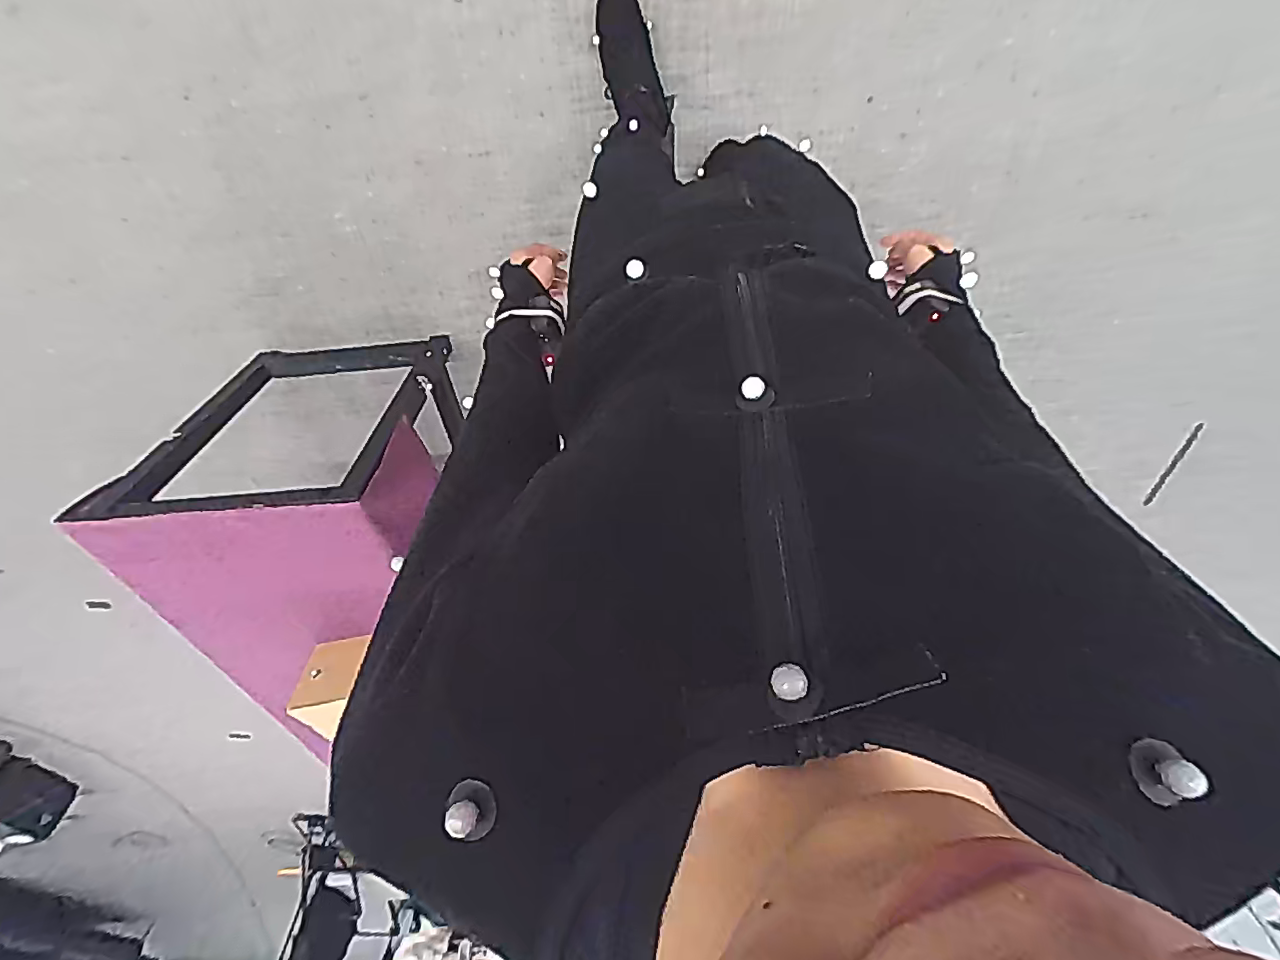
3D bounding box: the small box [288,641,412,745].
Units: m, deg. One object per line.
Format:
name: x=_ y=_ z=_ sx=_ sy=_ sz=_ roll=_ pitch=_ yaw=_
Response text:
small box: x=-0.689 y=0.514 z=1.308 sx=0.179 sy=0.176 sz=0.168 roll=-12 pitch=130 yaw=9
